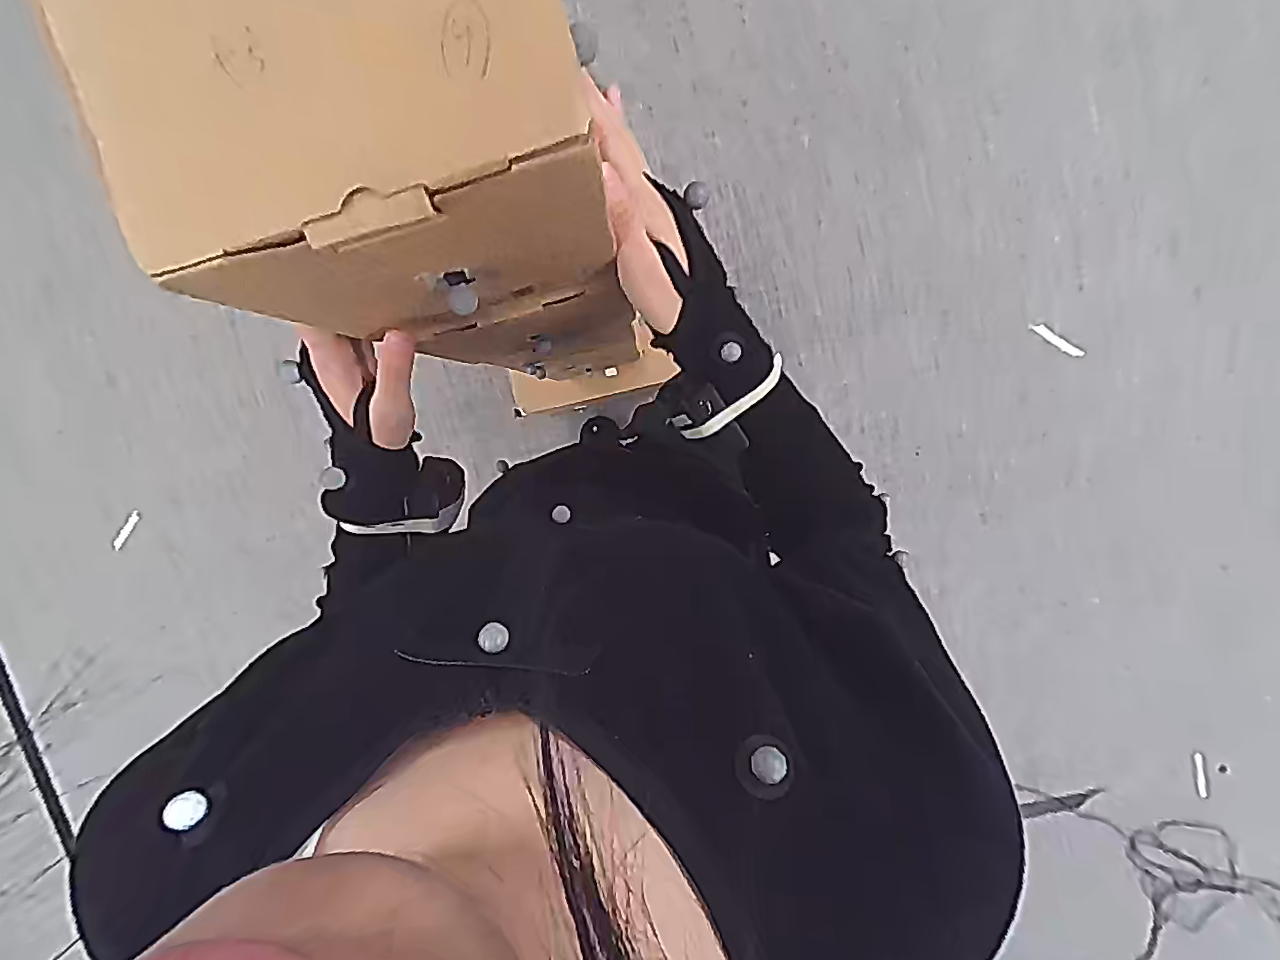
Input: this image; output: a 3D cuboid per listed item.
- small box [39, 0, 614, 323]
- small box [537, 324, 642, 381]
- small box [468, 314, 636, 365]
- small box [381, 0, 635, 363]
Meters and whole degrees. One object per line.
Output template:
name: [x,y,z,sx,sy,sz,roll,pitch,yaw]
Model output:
small box: [-0.113,-0.182,0.253,0.168,0.176,0.179,-15,97,2]
small box: [-0.096,-0.271,0.905,0.168,0.176,0.179,-14,98,3]
small box: [-0.101,-0.225,0.580,0.168,0.176,0.179,-12,97,2]
small box: [-0.104,-0.200,0.416,0.168,0.176,0.179,-14,97,4]
